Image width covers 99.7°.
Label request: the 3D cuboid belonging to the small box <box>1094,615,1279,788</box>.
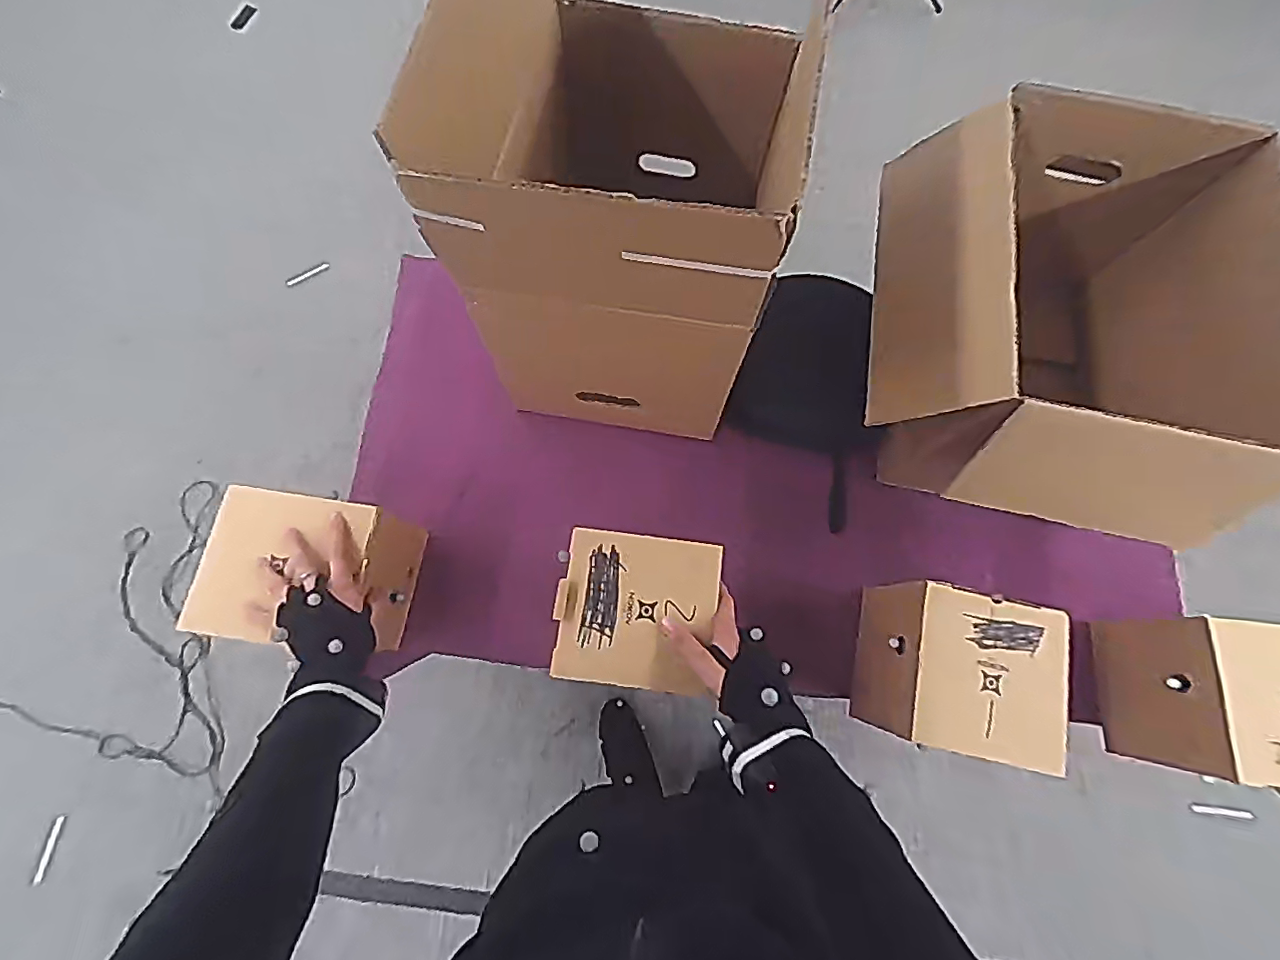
[{"bbox_3d":[0.711,0.268,0.669,0.168,0.176,0.179,6,74,1],"label":"small box"}]

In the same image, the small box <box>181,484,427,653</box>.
[{"bbox_3d":[-0.395,0.117,0.673,0.179,0.176,0.168,9,74,-1],"label":"small box"}]

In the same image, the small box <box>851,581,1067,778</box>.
[{"bbox_3d":[0.380,0.234,0.668,0.168,0.176,0.179,13,76,2],"label":"small box"}]
